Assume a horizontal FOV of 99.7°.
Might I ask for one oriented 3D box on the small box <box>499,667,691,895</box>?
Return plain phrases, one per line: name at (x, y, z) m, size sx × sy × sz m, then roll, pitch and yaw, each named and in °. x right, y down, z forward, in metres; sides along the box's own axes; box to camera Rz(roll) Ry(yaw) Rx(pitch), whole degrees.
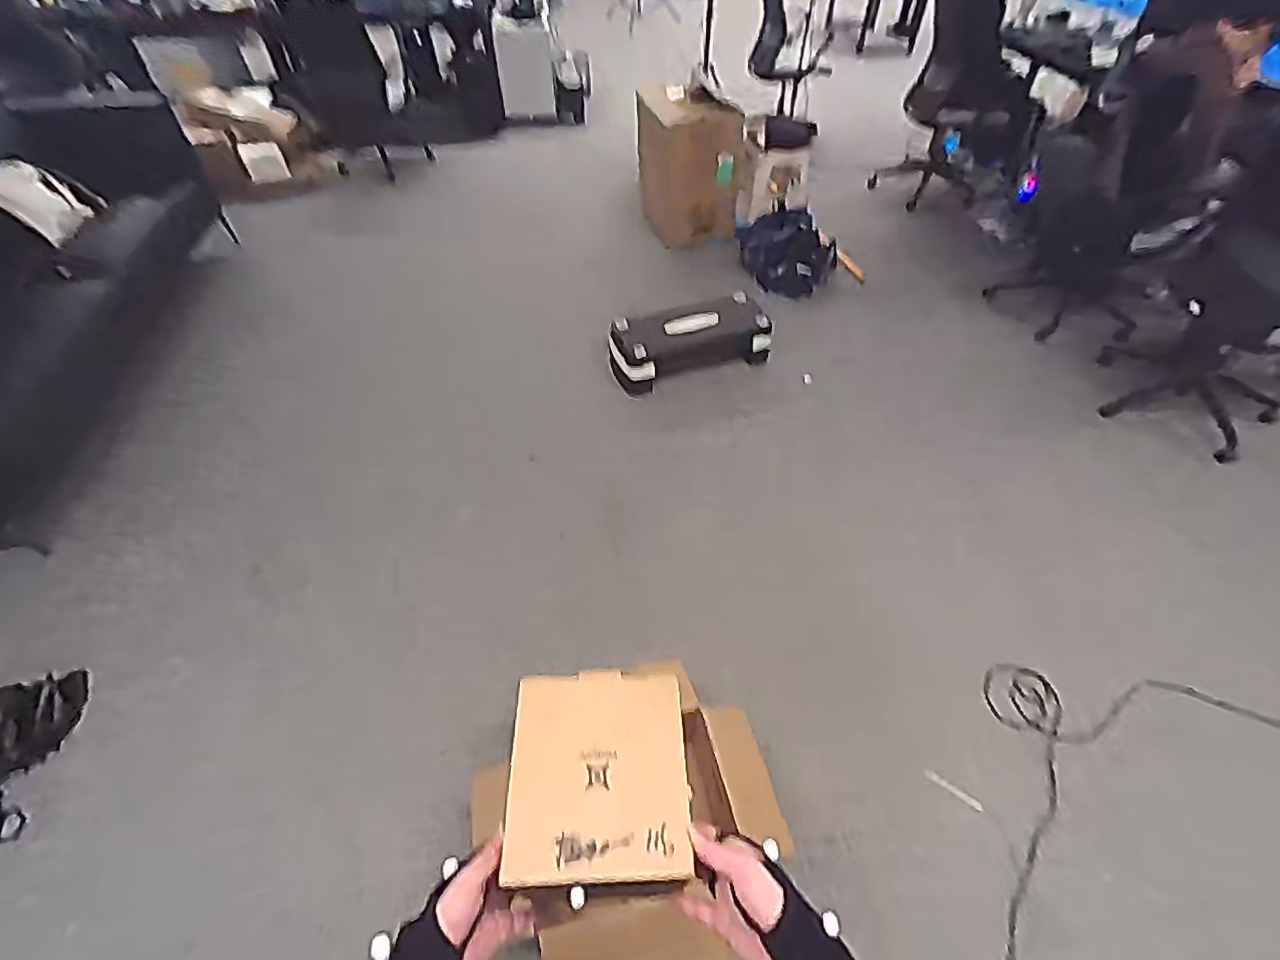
small box at (-0.041, 0.317, 0.570) m, size 0.168 × 0.176 × 0.179 m, roll -1°, pitch 48°, yaw -2°
